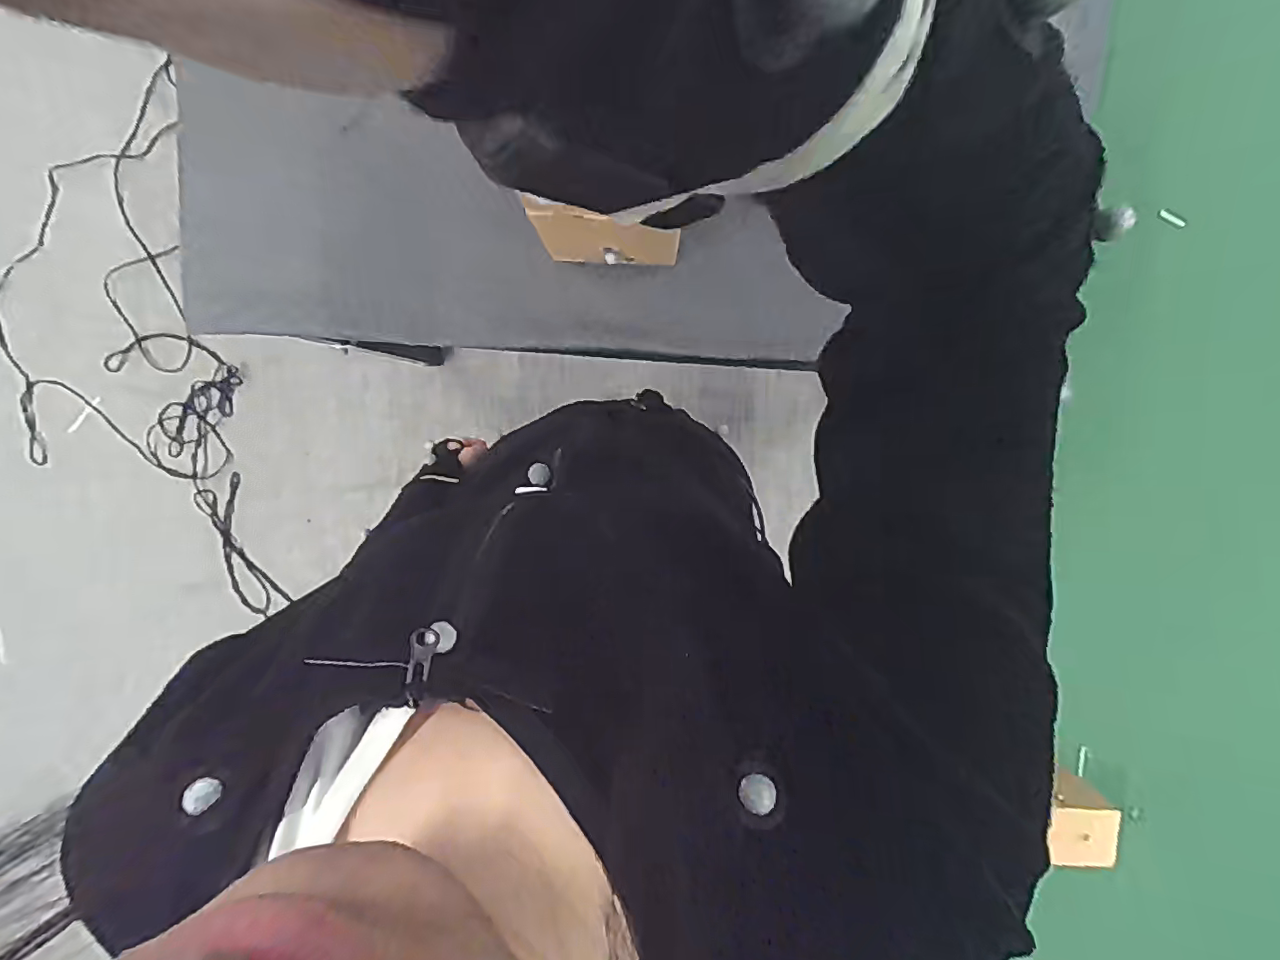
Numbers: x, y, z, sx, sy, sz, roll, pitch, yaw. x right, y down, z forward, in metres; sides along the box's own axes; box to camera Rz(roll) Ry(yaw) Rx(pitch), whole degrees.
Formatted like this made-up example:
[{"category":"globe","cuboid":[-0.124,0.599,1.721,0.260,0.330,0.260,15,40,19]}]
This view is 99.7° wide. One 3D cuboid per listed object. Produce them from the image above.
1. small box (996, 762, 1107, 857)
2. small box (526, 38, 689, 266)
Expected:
[{"category":"small box","cuboid":[1.151,0.921,1.523,0.179,0.176,0.168,1,97,1]},{"category":"small box","cuboid":[-0.035,-0.372,0.642,0.168,0.176,0.179,3,96,1]}]
